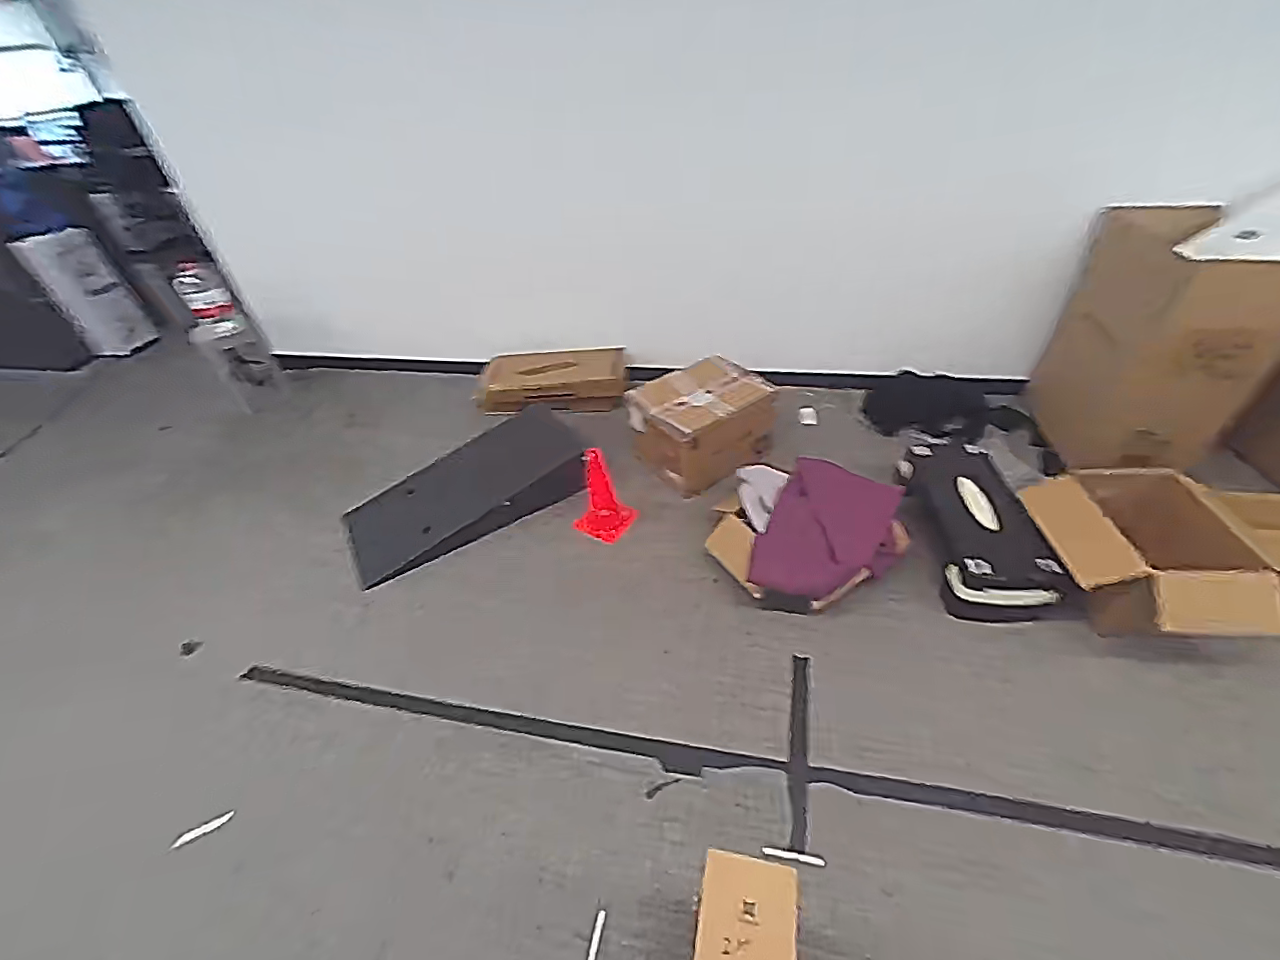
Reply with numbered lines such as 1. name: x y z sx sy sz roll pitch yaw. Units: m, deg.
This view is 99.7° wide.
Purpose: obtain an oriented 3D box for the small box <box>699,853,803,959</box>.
1. small box: 0.199 0.819 0.979 0.168 0.176 0.179 5 42 14
